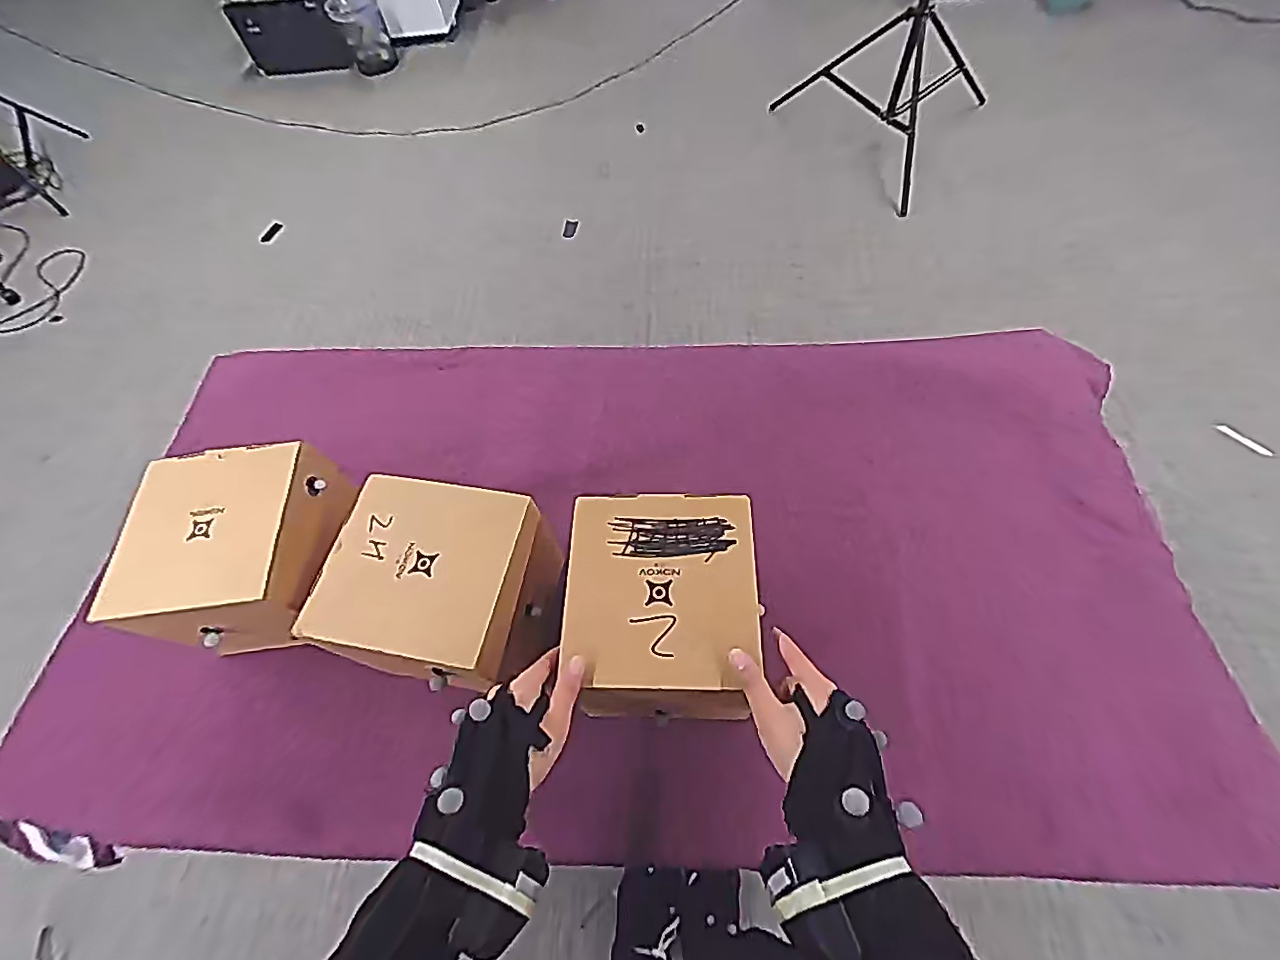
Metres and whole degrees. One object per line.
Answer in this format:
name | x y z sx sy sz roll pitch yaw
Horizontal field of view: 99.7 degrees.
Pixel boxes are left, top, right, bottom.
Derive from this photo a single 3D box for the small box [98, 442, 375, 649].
small box | -0.423 0.083 0.606 0.168 0.176 0.179 -8 60 1
